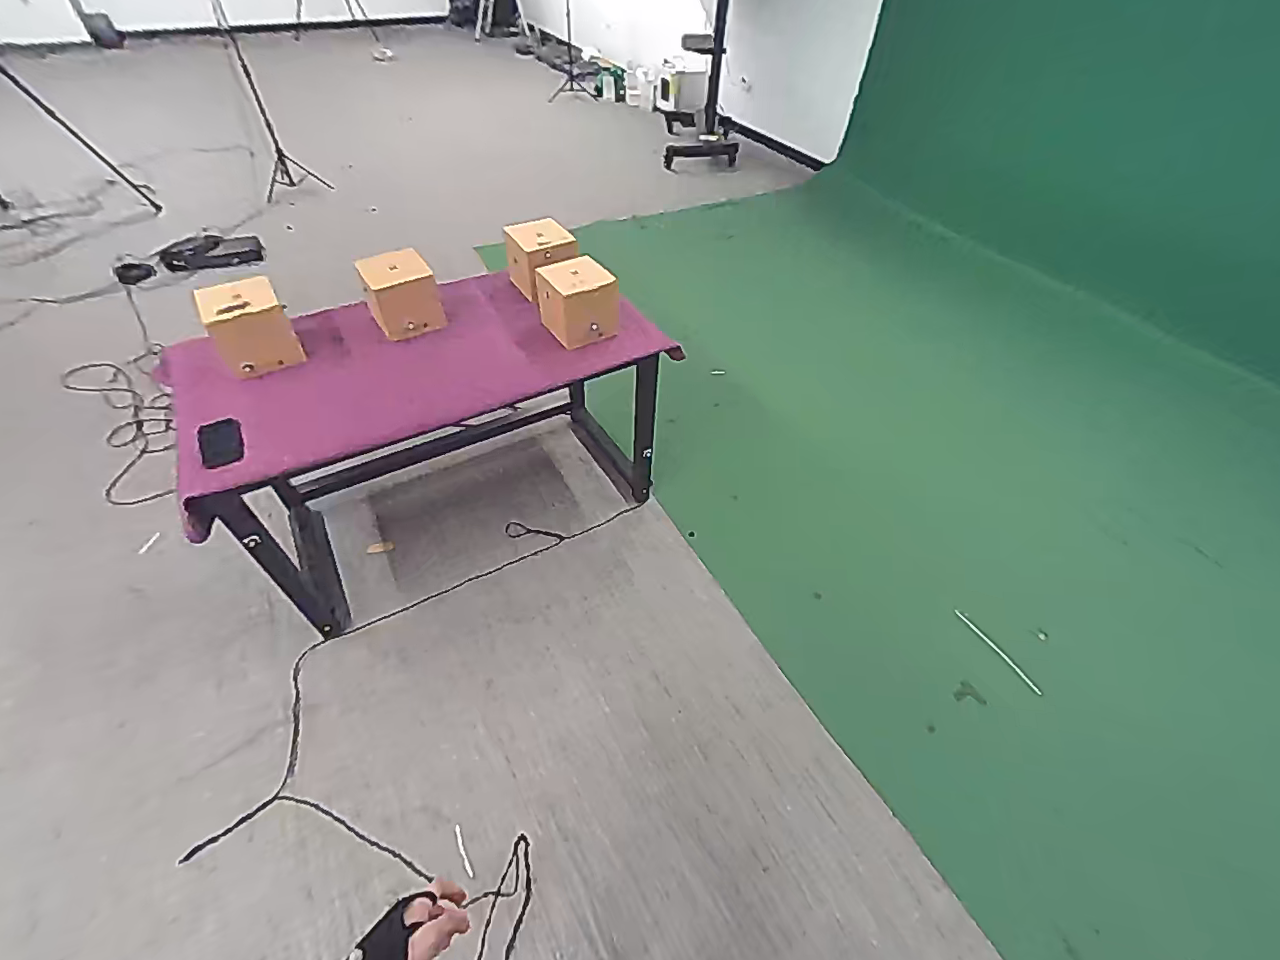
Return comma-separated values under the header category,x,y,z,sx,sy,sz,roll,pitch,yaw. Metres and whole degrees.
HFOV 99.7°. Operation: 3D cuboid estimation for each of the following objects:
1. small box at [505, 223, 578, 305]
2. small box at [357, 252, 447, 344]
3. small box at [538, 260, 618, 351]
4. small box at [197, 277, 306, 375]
category,x,y,z,sx,sy,sz,roll,pitch,yaw
small box,-0.303,-0.672,1.685,0.168,0.176,0.179,-24,53,-22
small box,-0.666,-0.512,1.521,0.168,0.176,0.179,-26,55,-23
small box,-0.173,-0.491,1.525,0.168,0.176,0.179,-24,52,-21
small box,-0.988,-0.388,1.385,0.168,0.176,0.179,-25,53,-24
